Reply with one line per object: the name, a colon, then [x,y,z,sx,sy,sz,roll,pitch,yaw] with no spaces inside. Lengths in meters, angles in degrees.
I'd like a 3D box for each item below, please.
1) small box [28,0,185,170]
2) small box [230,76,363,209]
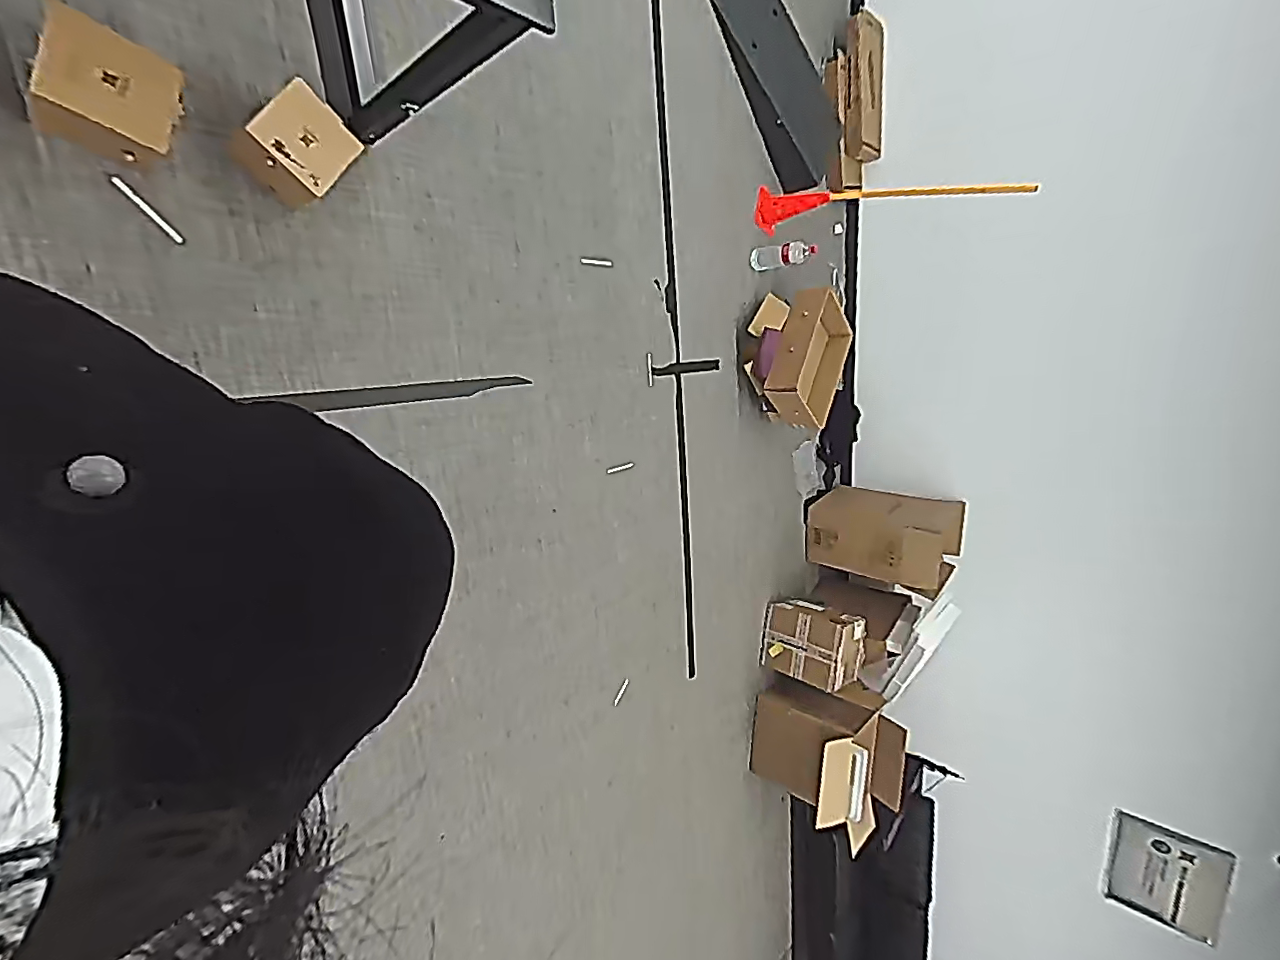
small box: [-0.976,-0.703,0.992,0.179,0.176,0.168,12,87,-48]
small box: [-0.772,-0.747,1.211,0.168,0.176,0.179,44,64,-43]
